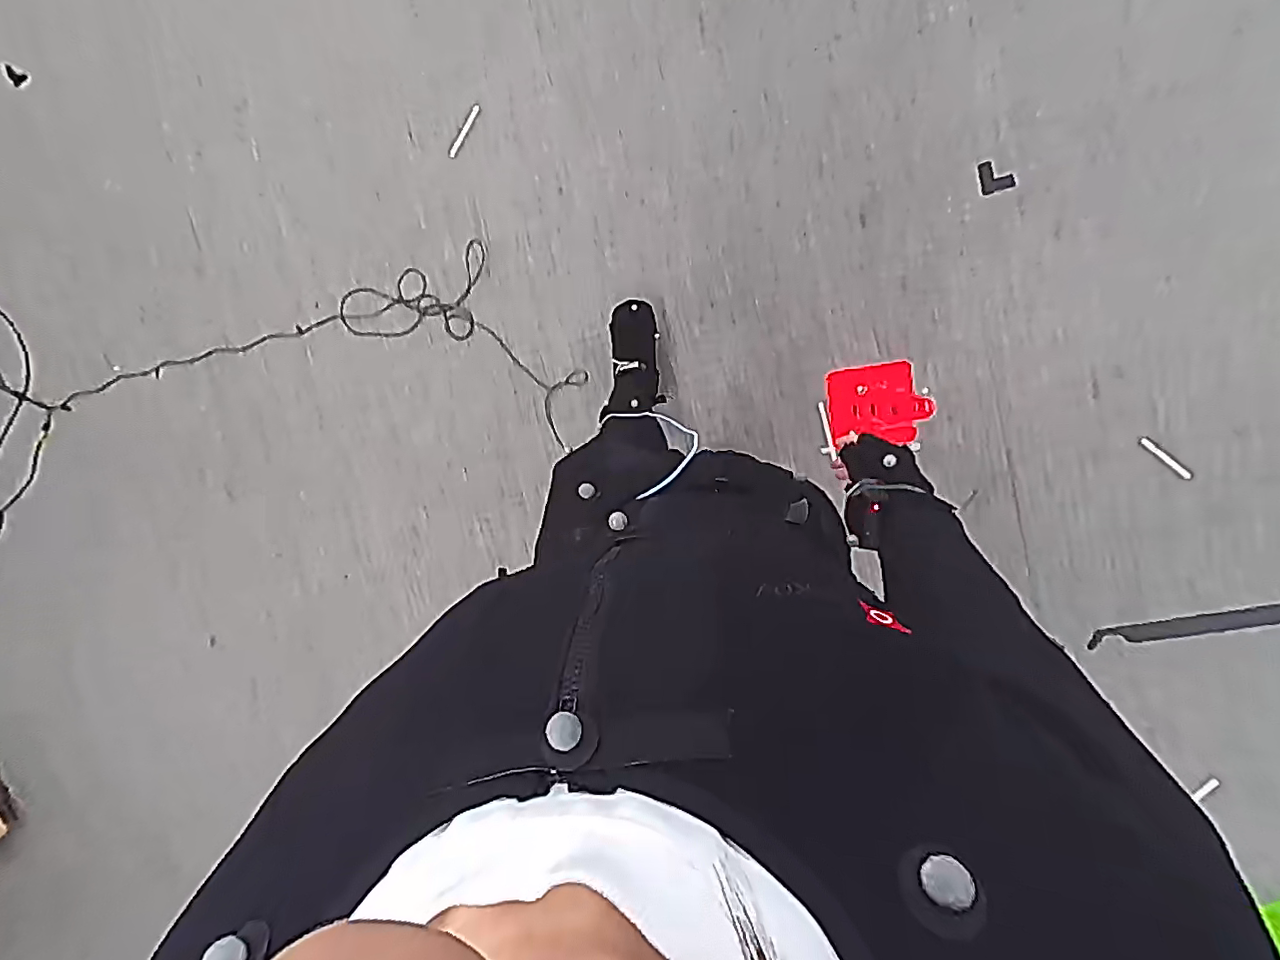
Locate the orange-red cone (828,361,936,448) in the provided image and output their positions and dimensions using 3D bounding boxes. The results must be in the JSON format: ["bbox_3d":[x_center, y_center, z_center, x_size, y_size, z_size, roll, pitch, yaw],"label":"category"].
[{"bbox_3d":[0.539,-0.156,1.142,0.199,0.360,0.198,-6,98,8],"label":"orange-red cone"}]
